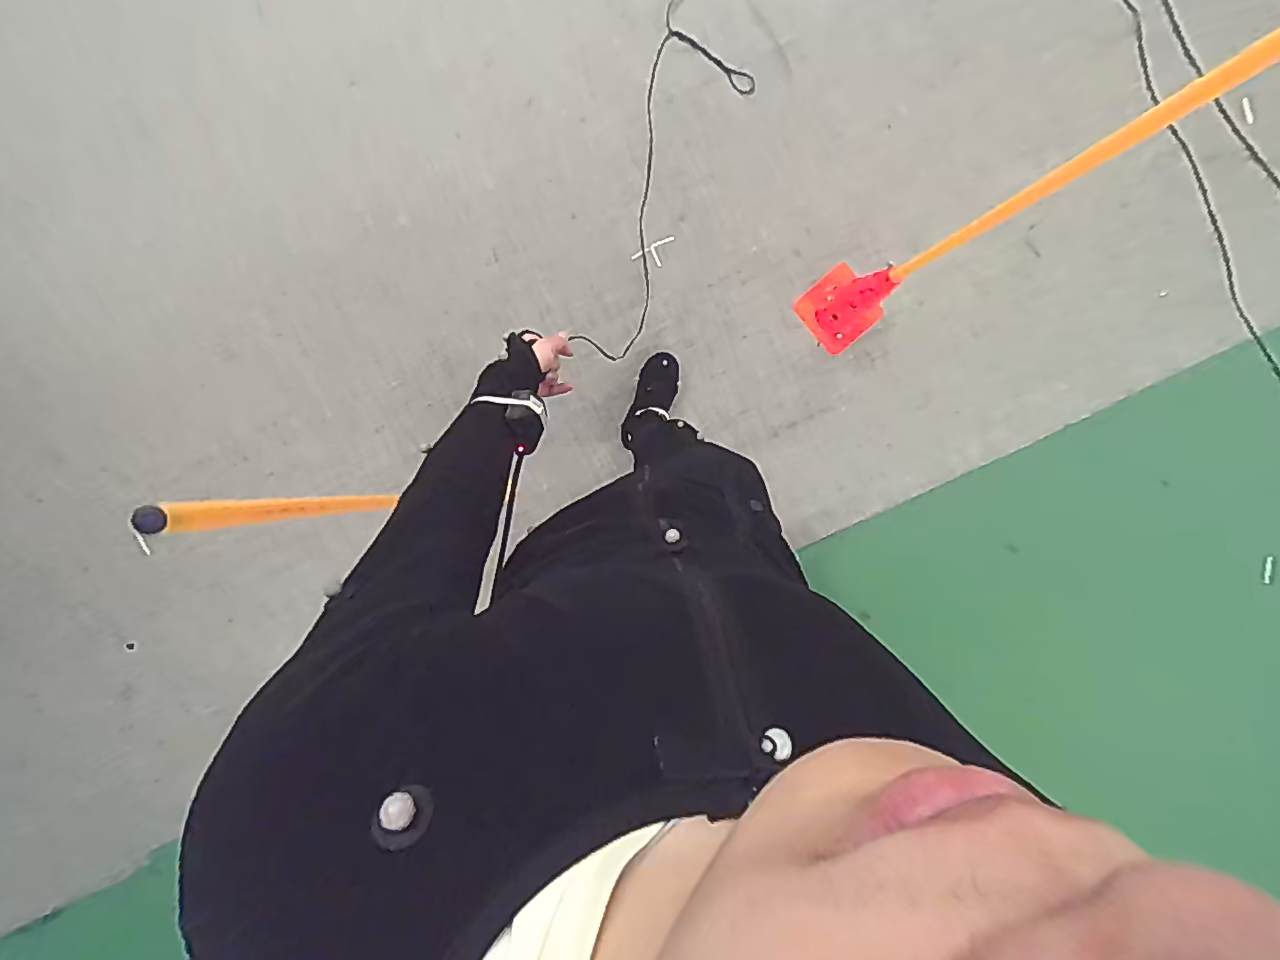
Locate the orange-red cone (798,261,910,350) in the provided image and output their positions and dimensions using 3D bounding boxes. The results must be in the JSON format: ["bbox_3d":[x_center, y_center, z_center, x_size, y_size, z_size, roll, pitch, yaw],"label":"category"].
[{"bbox_3d":[0.584,-0.486,1.385,0.199,0.360,0.198,-40,95,2],"label":"orange-red cone"}]
